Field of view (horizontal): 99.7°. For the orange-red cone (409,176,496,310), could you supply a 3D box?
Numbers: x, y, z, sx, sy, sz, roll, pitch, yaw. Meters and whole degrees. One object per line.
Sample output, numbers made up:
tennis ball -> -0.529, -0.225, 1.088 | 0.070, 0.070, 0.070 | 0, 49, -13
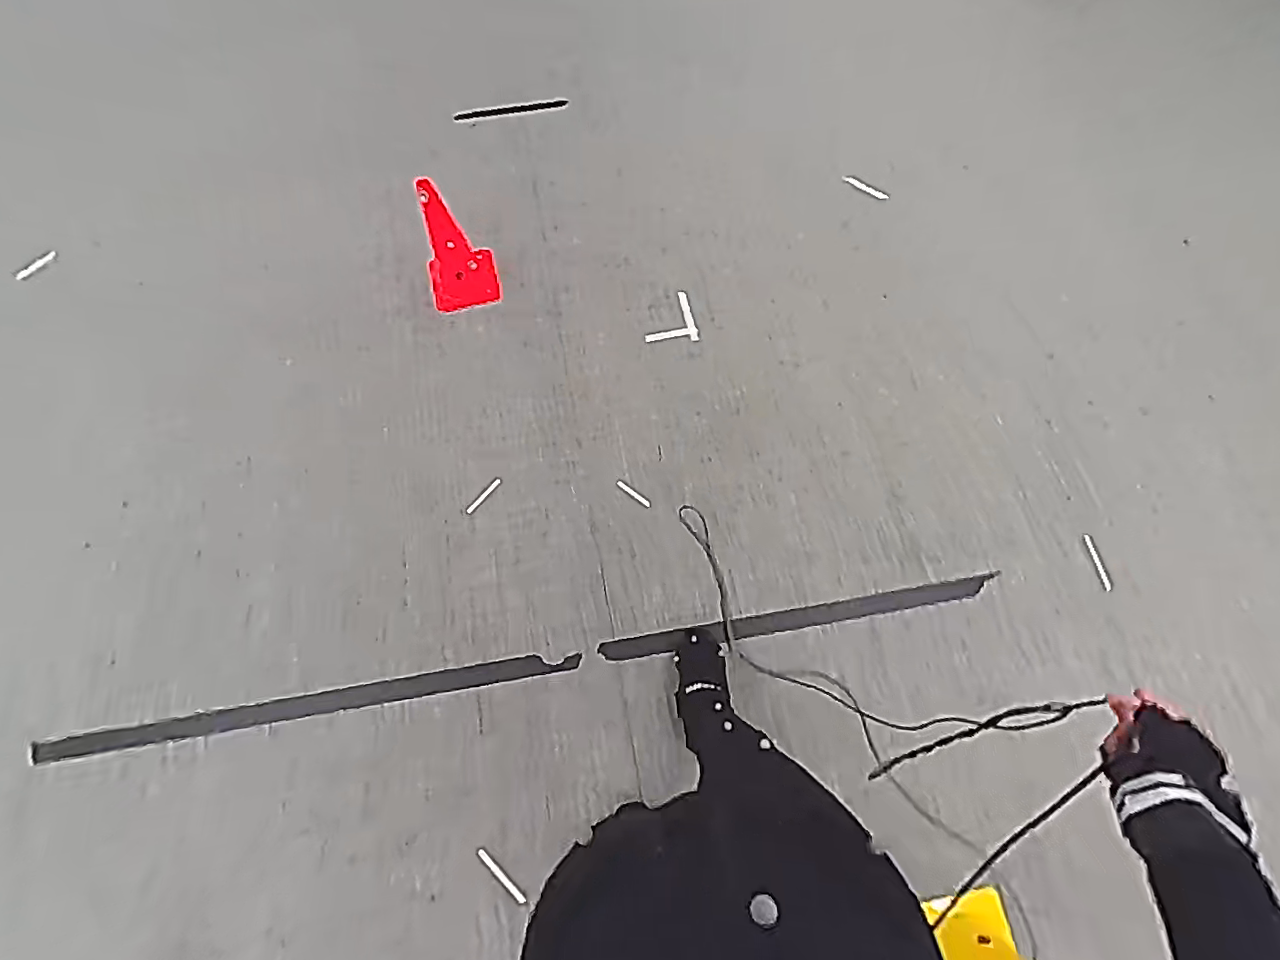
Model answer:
orange-red cone -> -0.543, -0.664, 1.473 | 0.199, 0.360, 0.198 | -14, 71, -4
